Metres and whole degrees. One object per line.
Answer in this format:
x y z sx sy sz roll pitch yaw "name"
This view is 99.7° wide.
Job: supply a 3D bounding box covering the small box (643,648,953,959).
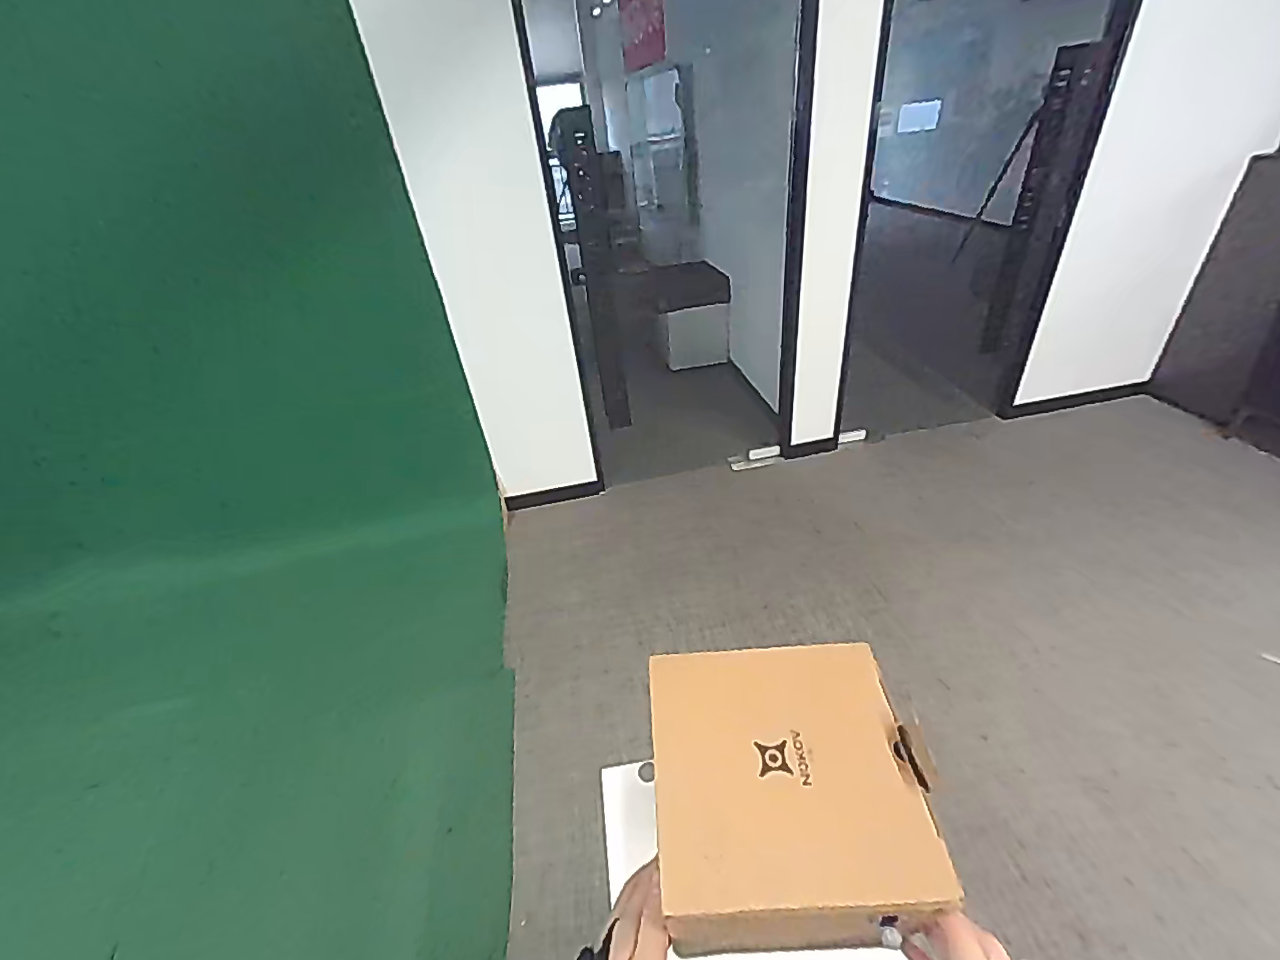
0.097 0.252 0.420 0.179 0.176 0.168 -4 42 1 "small box"
